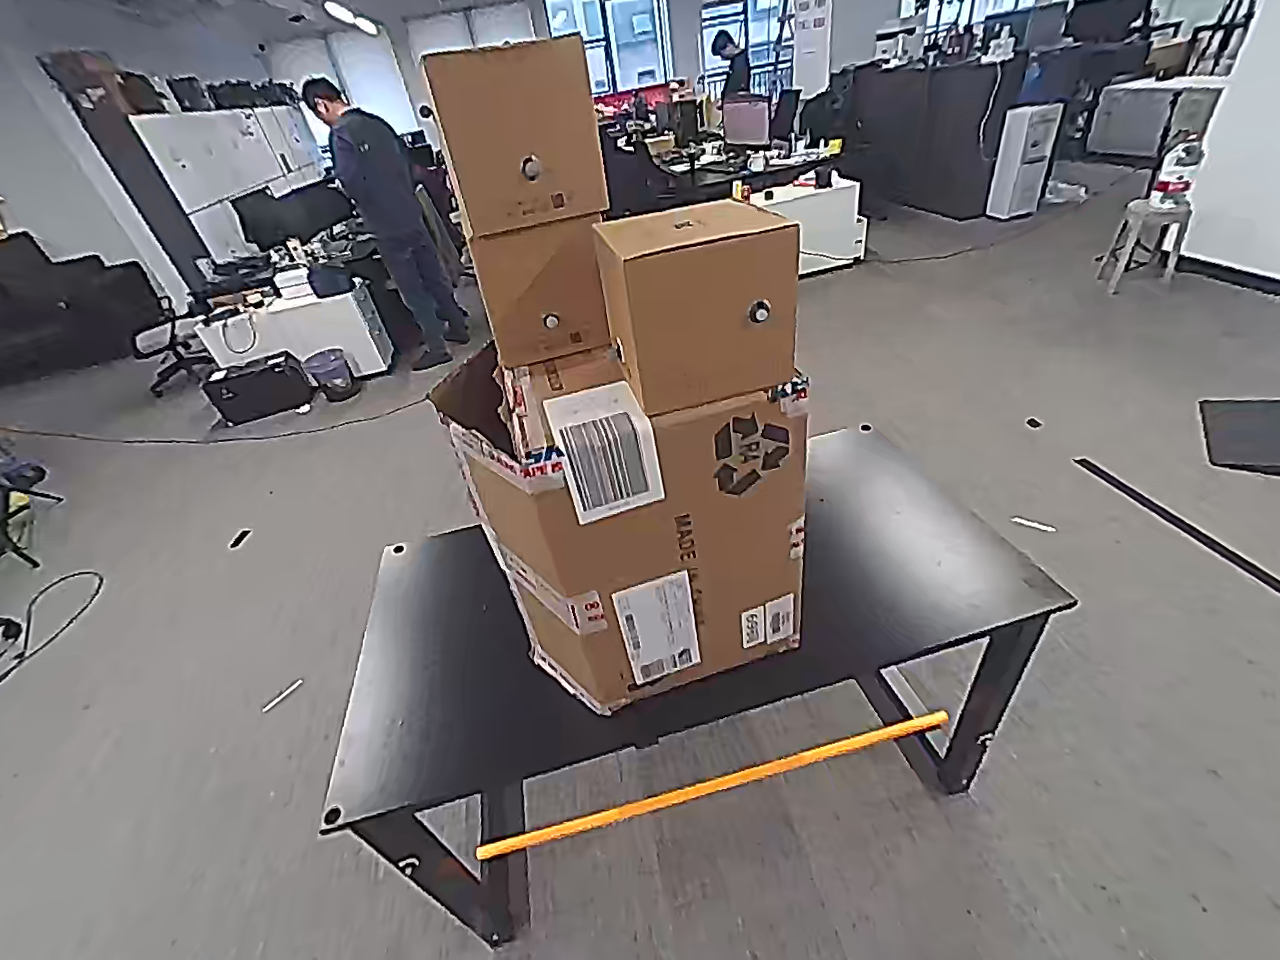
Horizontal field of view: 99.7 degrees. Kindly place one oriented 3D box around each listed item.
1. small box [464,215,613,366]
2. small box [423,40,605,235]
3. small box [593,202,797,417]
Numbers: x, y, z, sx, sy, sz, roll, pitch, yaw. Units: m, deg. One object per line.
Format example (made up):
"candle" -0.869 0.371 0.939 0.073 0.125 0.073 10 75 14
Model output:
"small box" -0.139 -0.278 0.759 0.168 0.176 0.179 -17 36 -10
"small box" -0.152 -0.409 0.659 0.168 0.176 0.179 -18 36 -11
"small box" 0.058 -0.195 0.611 0.179 0.176 0.168 -16 37 -7
